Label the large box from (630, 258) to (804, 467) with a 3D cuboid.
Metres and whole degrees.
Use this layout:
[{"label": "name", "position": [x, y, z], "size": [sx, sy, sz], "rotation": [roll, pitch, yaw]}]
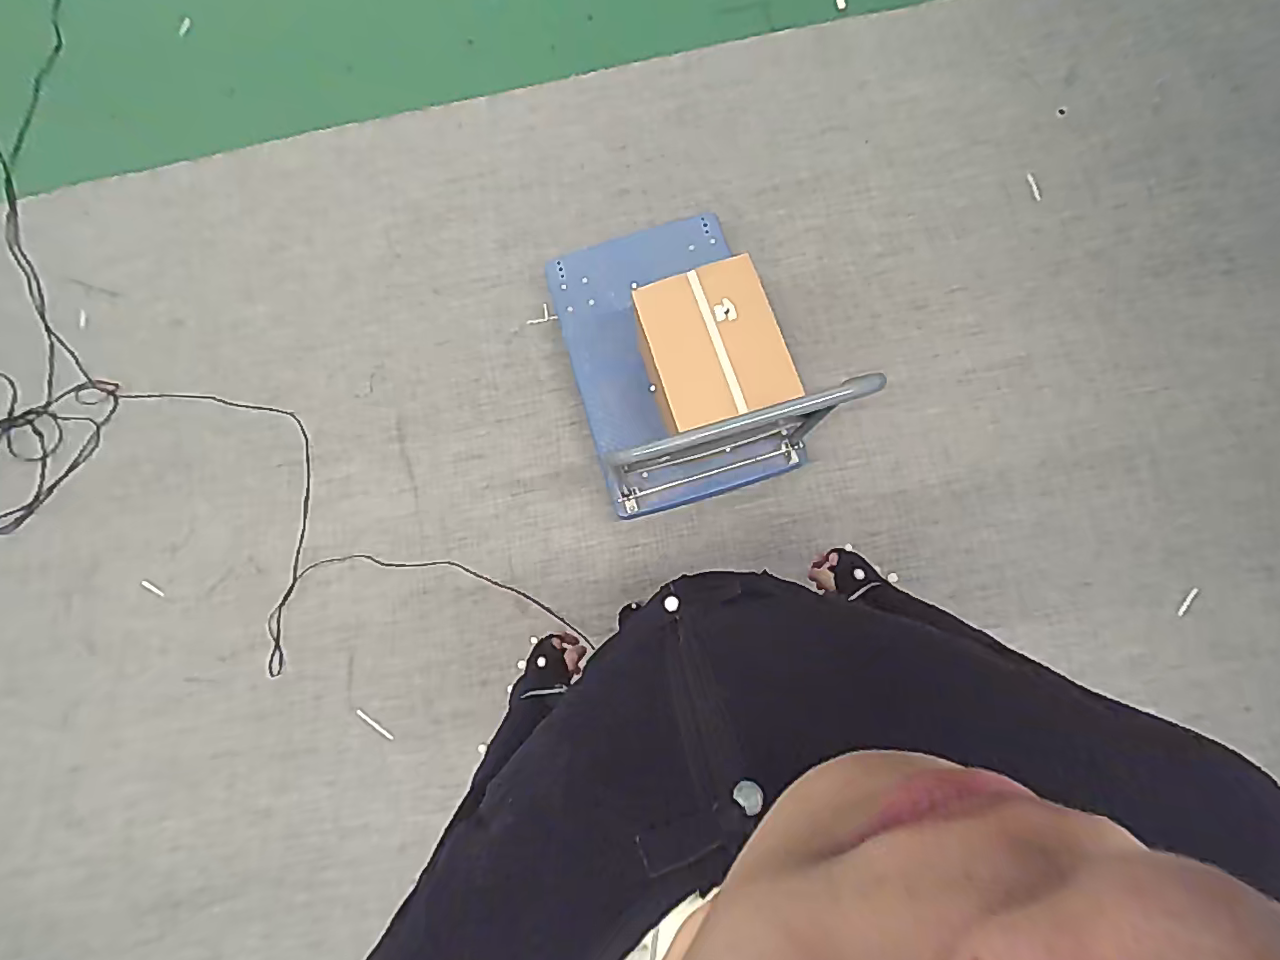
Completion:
[{"label": "large box", "position": [0.190, -0.294, 1.447], "size": [0.320, 0.320, 0.408], "rotation": [-17, 77, -1]}]
